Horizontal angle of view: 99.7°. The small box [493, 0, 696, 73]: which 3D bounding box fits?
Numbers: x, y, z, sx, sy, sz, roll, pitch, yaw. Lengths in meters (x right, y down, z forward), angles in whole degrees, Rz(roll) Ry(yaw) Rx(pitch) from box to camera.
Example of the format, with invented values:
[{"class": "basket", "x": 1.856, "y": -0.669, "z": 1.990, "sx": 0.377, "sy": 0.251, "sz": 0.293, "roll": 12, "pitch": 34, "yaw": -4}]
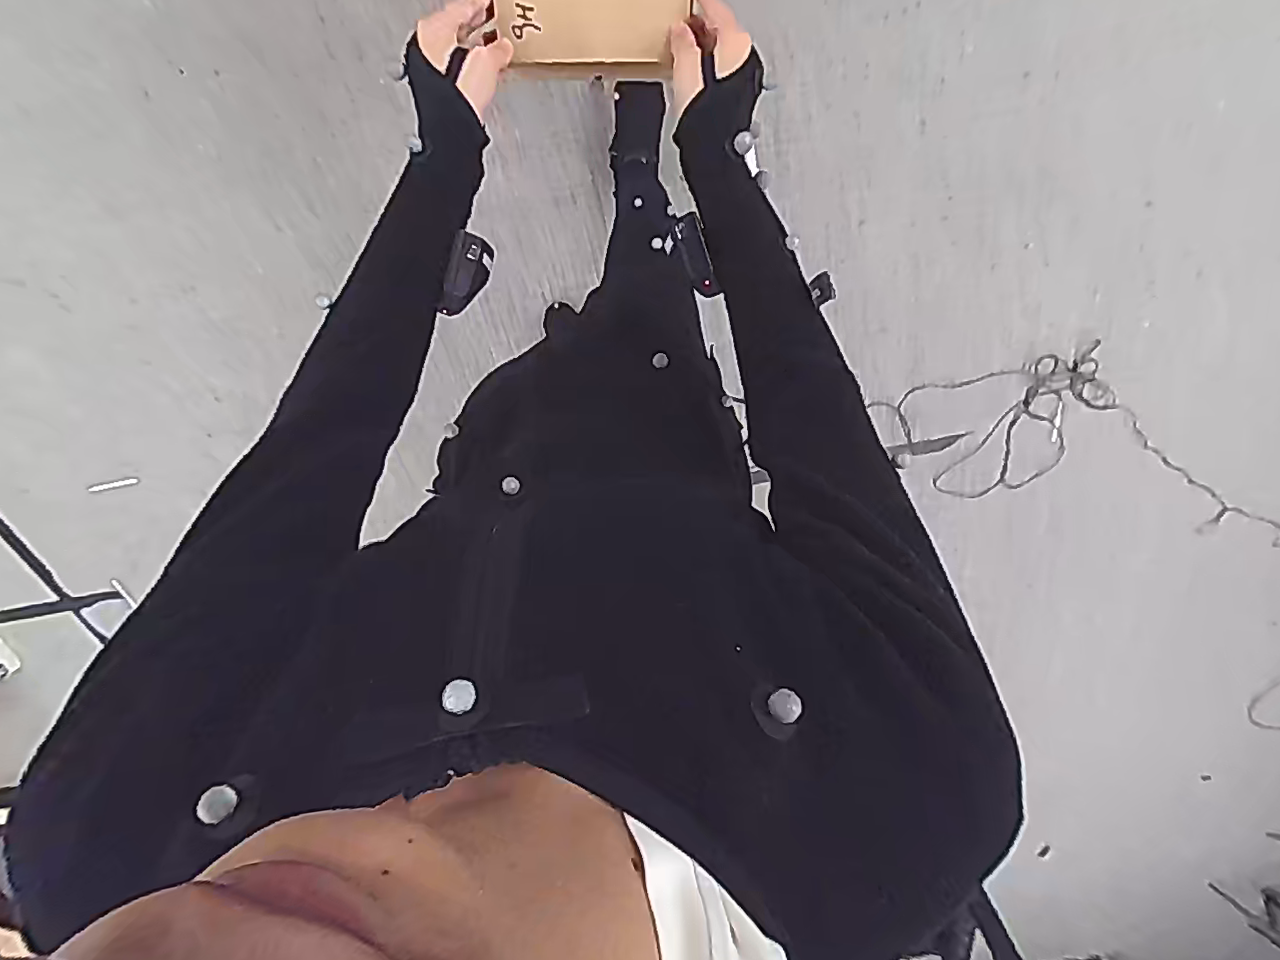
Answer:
[{"class": "small box", "x": -0.045, "y": -0.492, "z": 0.503, "sx": 0.179, "sy": 0.176, "sz": 0.168, "roll": -2, "pitch": 122, "yaw": -4}]
